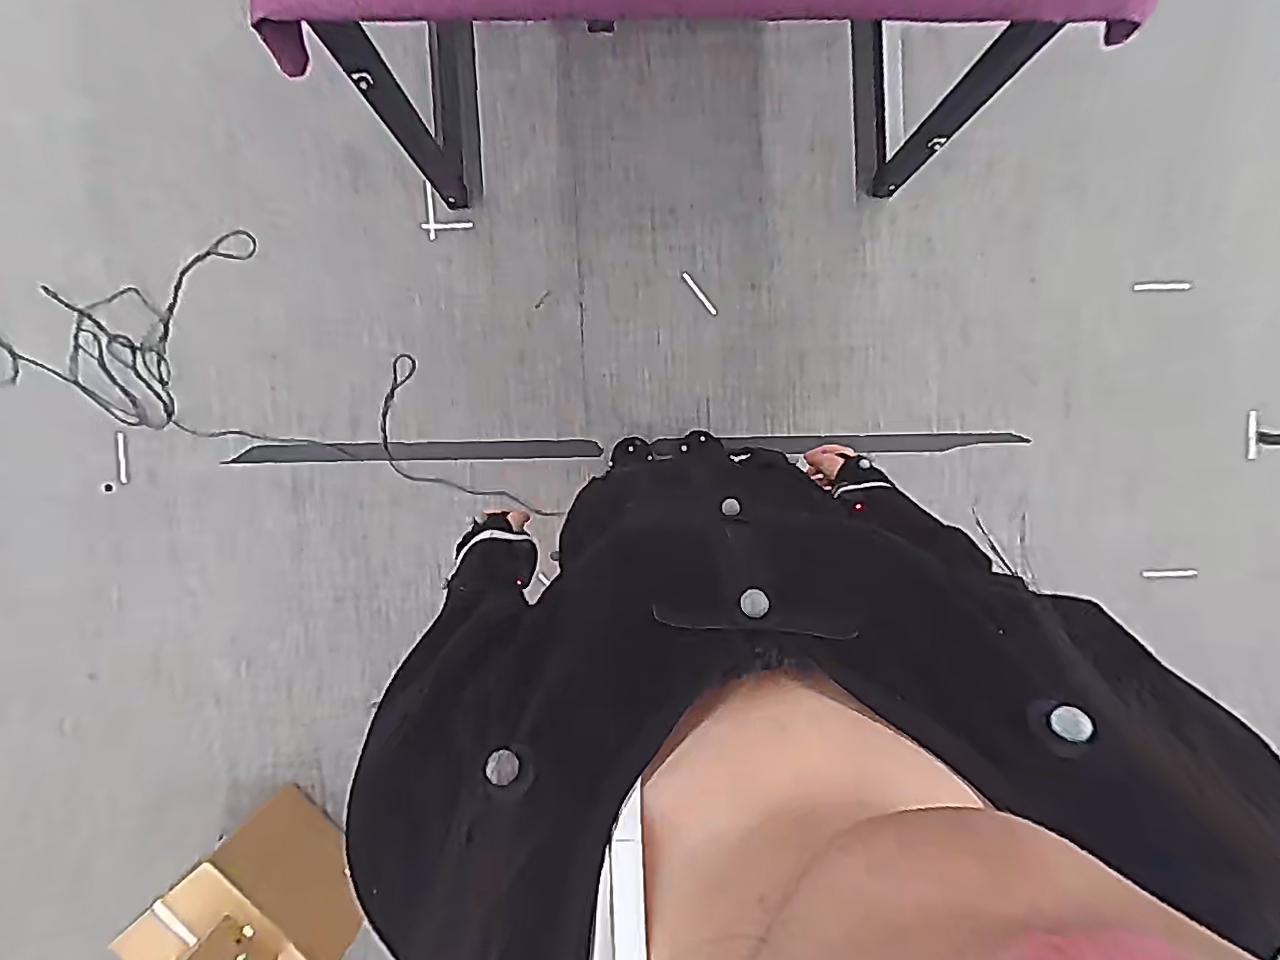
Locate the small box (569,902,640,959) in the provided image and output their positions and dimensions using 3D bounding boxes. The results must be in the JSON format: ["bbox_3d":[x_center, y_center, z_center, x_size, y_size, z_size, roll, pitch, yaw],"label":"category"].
[{"bbox_3d":[-0.092,1.318,1.482,0.168,0.176,0.179,-11,93,-2],"label":"small box"}]

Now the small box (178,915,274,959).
[{"bbox_3d":[-0.948,1.110,1.163,0.179,0.176,0.168,-43,93,1],"label":"small box"}]
